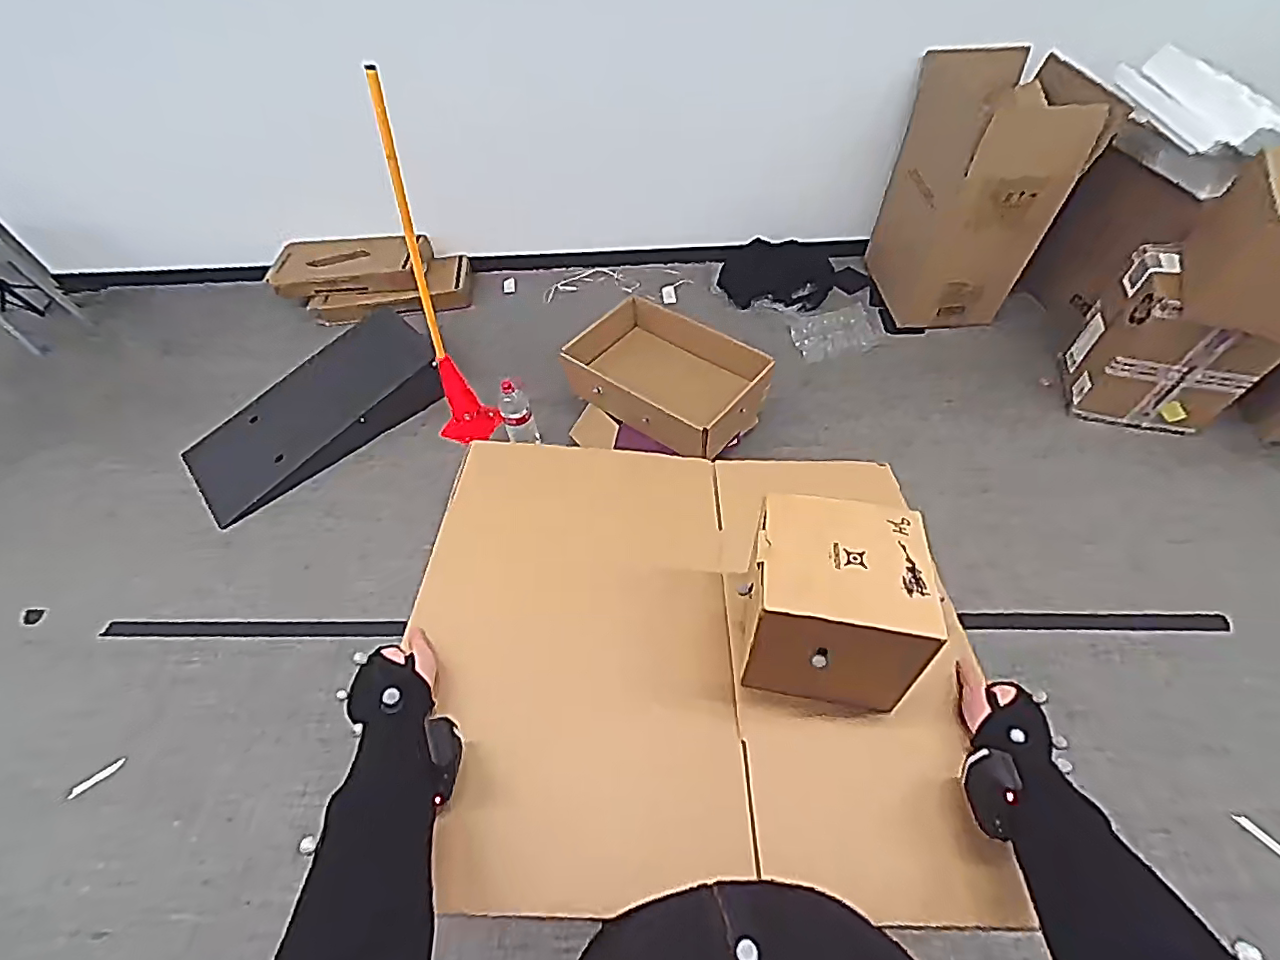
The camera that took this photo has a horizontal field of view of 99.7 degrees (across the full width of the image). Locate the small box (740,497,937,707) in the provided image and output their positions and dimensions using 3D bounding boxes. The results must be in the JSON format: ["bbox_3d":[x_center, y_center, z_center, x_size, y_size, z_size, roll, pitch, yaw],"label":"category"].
[{"bbox_3d":[0.216,0.144,0.636,0.179,0.176,0.168,8,45,9],"label":"small box"}]
